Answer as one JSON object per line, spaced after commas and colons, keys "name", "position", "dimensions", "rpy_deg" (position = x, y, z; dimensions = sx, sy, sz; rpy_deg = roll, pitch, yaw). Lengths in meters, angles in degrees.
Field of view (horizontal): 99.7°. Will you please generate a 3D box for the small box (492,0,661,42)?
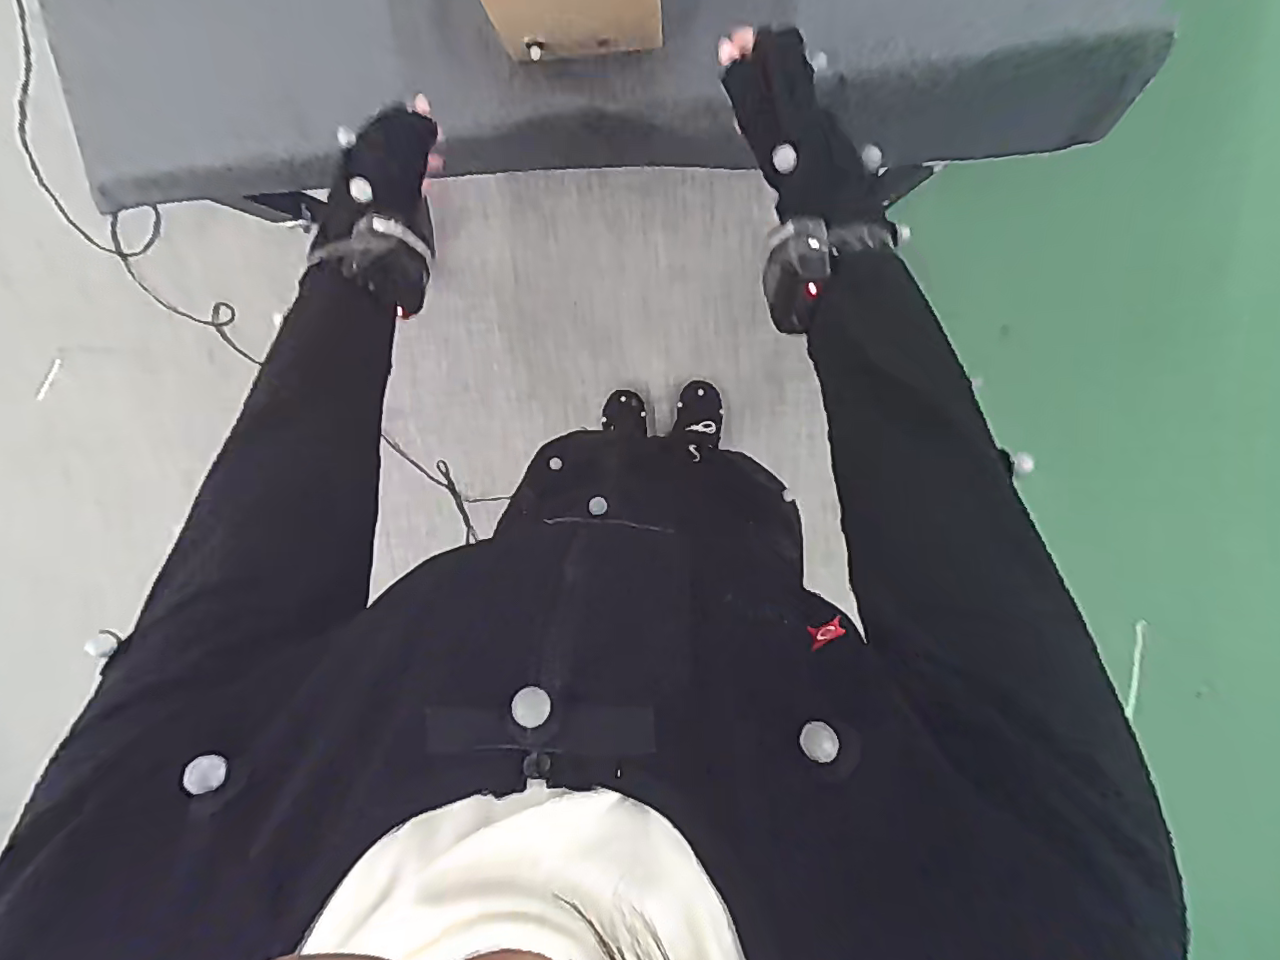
{"name": "small box", "position": [-0.065, -0.541, 0.496], "dimensions": [0.168, 0.176, 0.179], "rpy_deg": [-1, 102, 4]}
